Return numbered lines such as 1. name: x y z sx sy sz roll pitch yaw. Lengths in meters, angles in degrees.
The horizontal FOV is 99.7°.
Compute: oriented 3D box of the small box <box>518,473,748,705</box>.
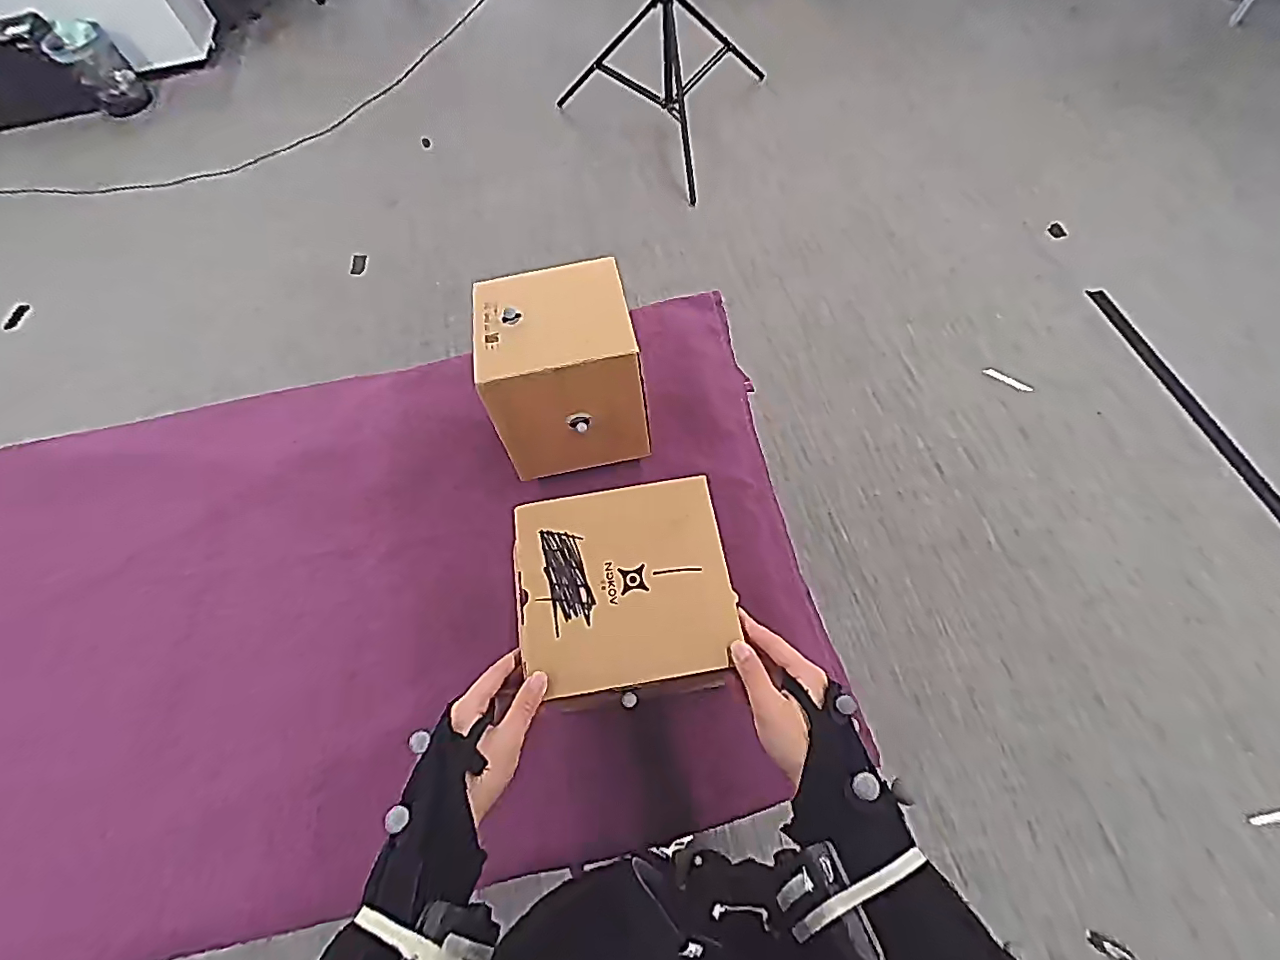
1. small box: -0.006 0.114 0.519 0.179 0.176 0.168 -10 65 0
